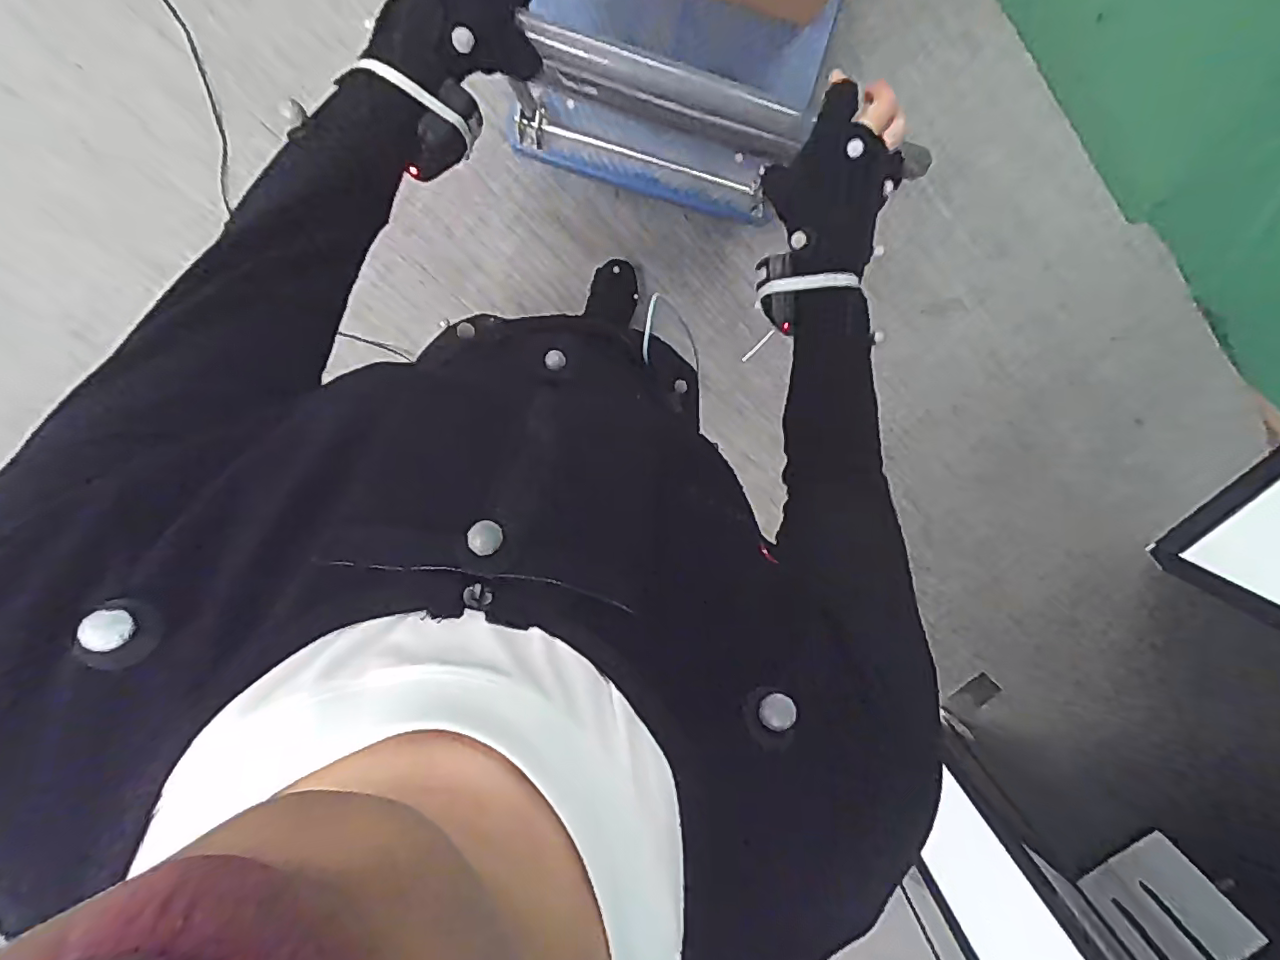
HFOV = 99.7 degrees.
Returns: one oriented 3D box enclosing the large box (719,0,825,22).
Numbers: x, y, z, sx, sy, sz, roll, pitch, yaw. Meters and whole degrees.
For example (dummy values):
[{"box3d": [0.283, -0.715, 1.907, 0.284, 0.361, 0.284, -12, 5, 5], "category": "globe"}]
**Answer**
[{"box3d": [0.168, -0.995, 0.830, 0.408, 0.320, 0.320, 10, 108, -8], "category": "large box"}]
